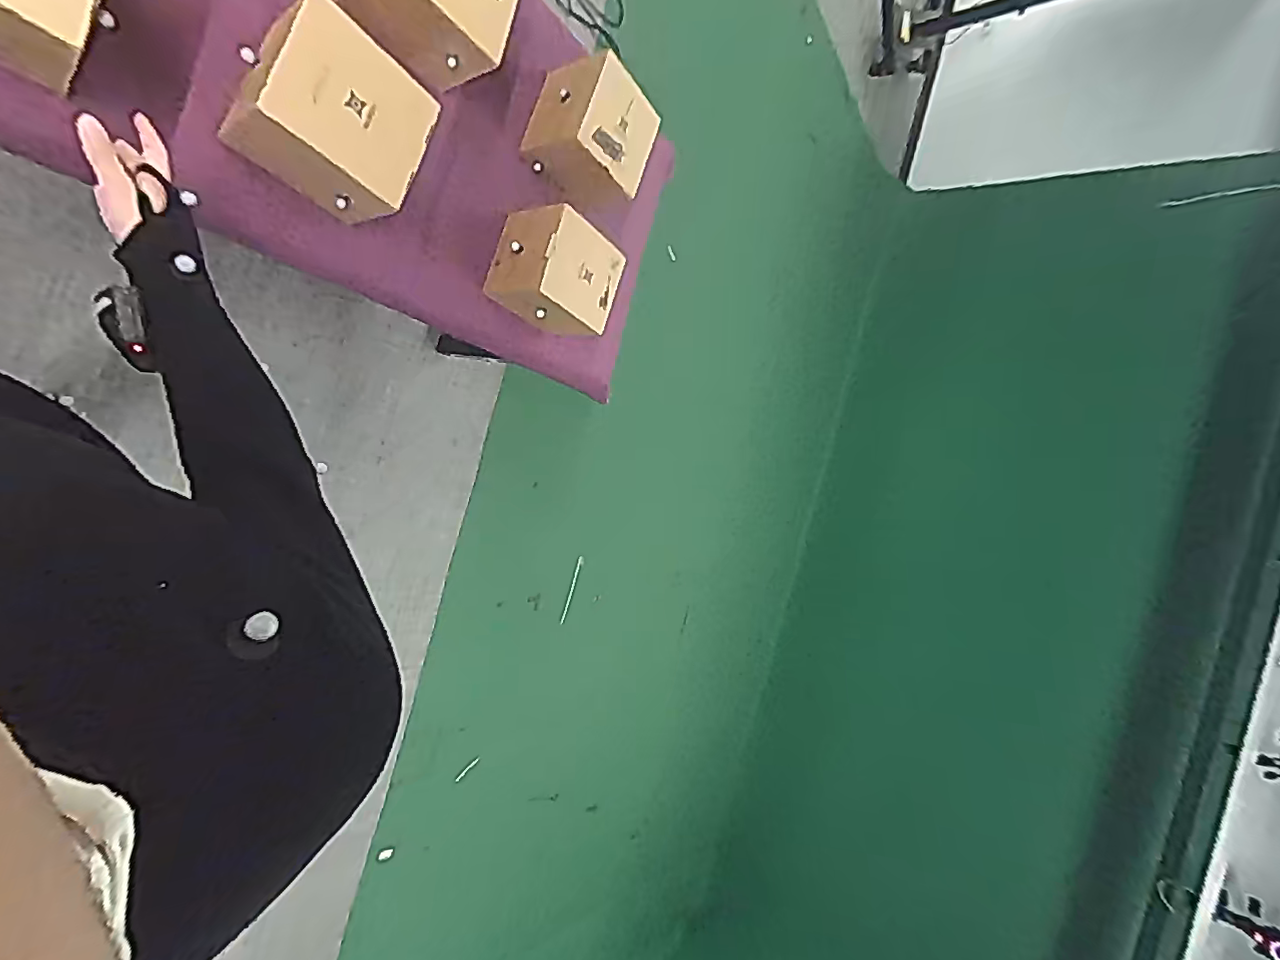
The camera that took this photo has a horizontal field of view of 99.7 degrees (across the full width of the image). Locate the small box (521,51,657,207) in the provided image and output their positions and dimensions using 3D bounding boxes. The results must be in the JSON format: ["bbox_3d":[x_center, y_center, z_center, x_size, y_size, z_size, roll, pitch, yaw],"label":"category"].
[{"bbox_3d":[-0.100,-0.653,1.034,0.168,0.176,0.179,25,82,-51],"label":"small box"}]

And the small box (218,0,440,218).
[{"bbox_3d":[-0.409,-0.473,0.717,0.179,0.176,0.168,28,79,-50],"label":"small box"}]

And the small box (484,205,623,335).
[{"bbox_3d":[-0.167,-0.390,1.037,0.179,0.176,0.168,23,83,-50],"label":"small box"}]

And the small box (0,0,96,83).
[{"bbox_3d":[-0.599,-0.496,0.472,0.179,0.176,0.168,18,87,-52],"label":"small box"}]
